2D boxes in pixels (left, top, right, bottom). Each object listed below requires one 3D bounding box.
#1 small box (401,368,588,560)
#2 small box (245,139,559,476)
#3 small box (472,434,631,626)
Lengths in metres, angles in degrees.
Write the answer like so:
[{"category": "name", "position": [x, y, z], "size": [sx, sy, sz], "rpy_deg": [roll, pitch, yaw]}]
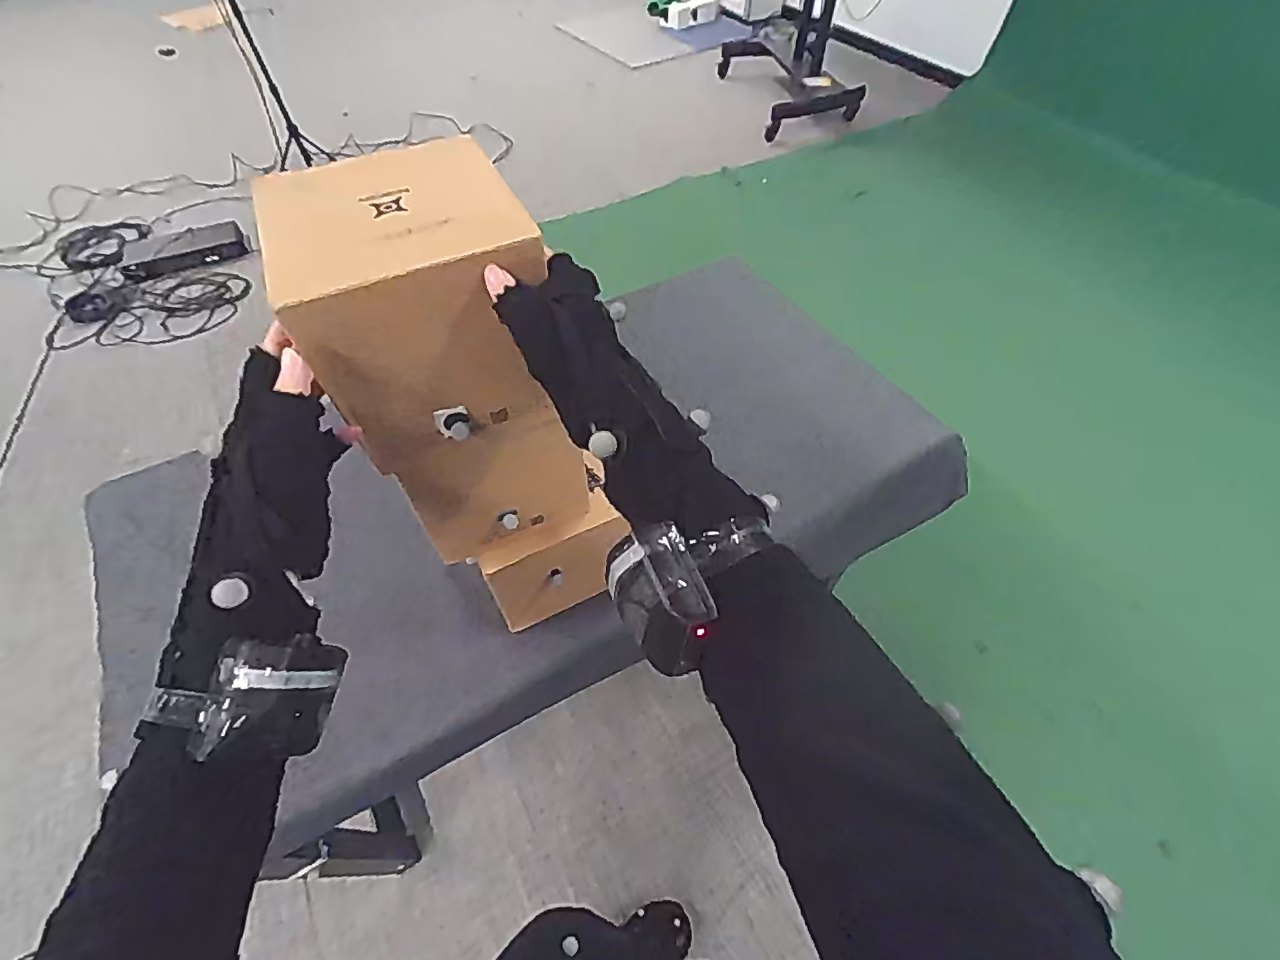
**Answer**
[{"category": "small box", "position": [-0.168, -0.049, 0.570], "size": [0.168, 0.176, 0.179], "rpy_deg": [-24, 55, -16]}, {"category": "small box", "position": [-0.177, -0.135, 0.432], "size": [0.168, 0.176, 0.179], "rpy_deg": [-23, 57, -13]}, {"category": "small box", "position": [-0.124, 0.059, 0.693], "size": [0.179, 0.176, 0.168], "rpy_deg": [-24, 57, -15]}]
